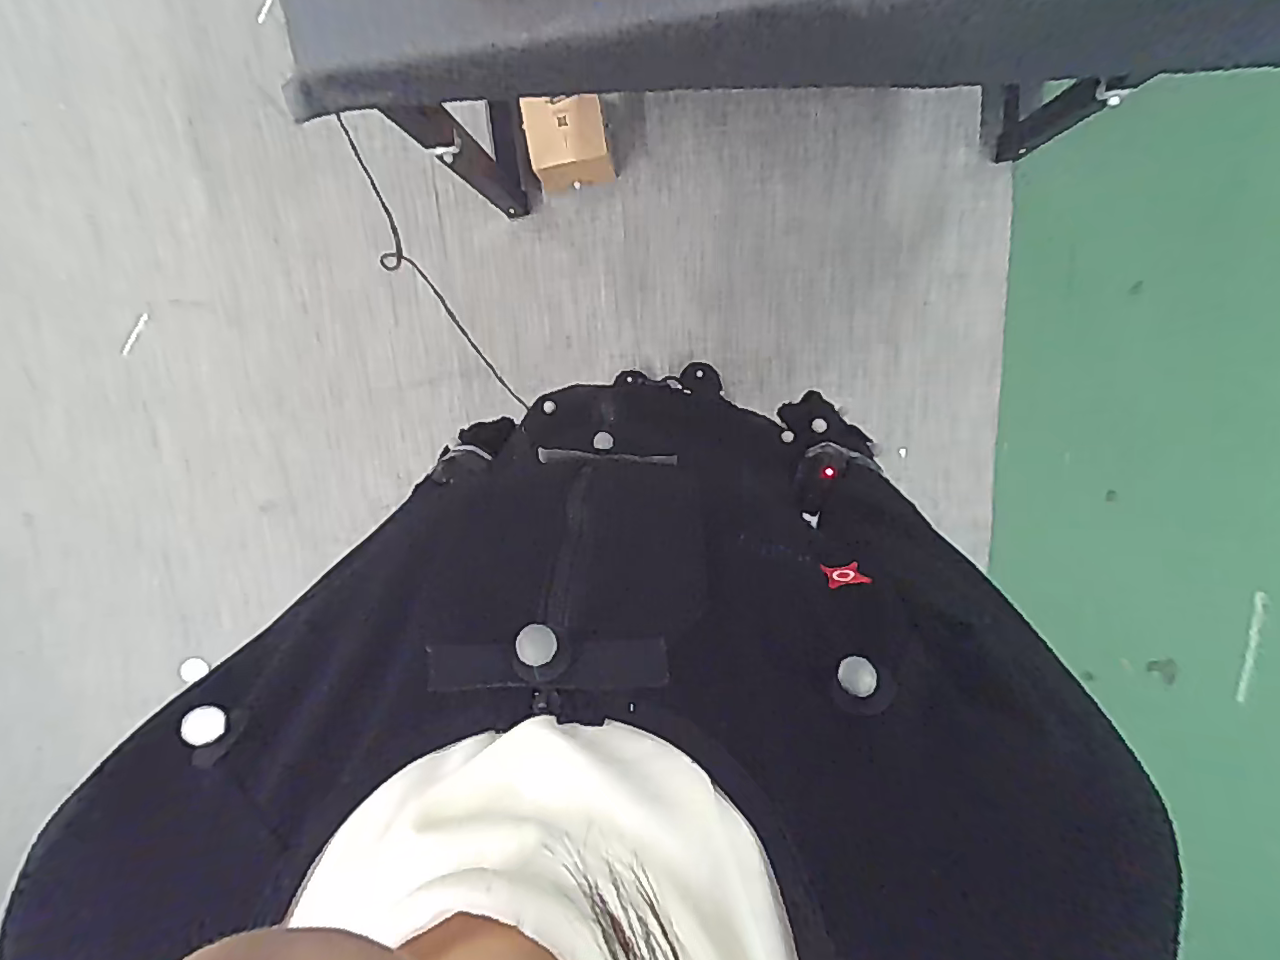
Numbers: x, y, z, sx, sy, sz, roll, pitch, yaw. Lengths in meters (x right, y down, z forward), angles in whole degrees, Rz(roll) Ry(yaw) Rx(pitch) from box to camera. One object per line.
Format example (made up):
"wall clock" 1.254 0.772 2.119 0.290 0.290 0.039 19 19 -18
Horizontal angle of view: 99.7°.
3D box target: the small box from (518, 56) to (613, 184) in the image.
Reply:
"small box" -0.157 -0.783 1.195 0.168 0.176 0.179 -7 103 5
